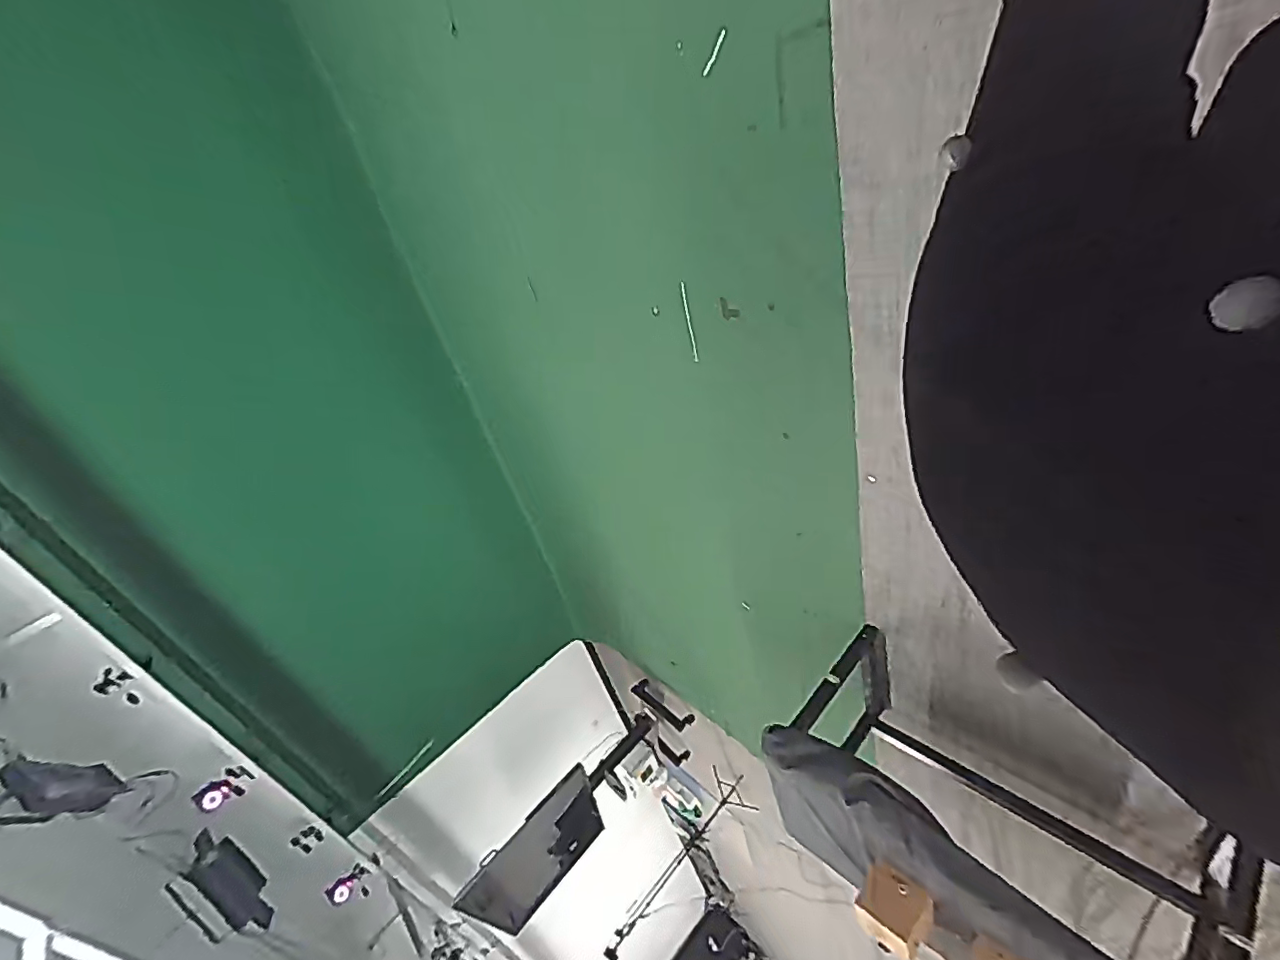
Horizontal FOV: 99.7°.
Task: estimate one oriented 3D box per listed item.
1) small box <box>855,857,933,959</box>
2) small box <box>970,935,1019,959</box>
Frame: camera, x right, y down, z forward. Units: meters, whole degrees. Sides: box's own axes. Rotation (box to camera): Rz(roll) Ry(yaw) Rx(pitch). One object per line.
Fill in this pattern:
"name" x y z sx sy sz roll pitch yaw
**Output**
"small box" 0.797 1.337 1.687 0.168 0.176 0.179 14 133 47
"small box" 0.992 1.407 1.478 0.168 0.176 0.179 16 136 47
